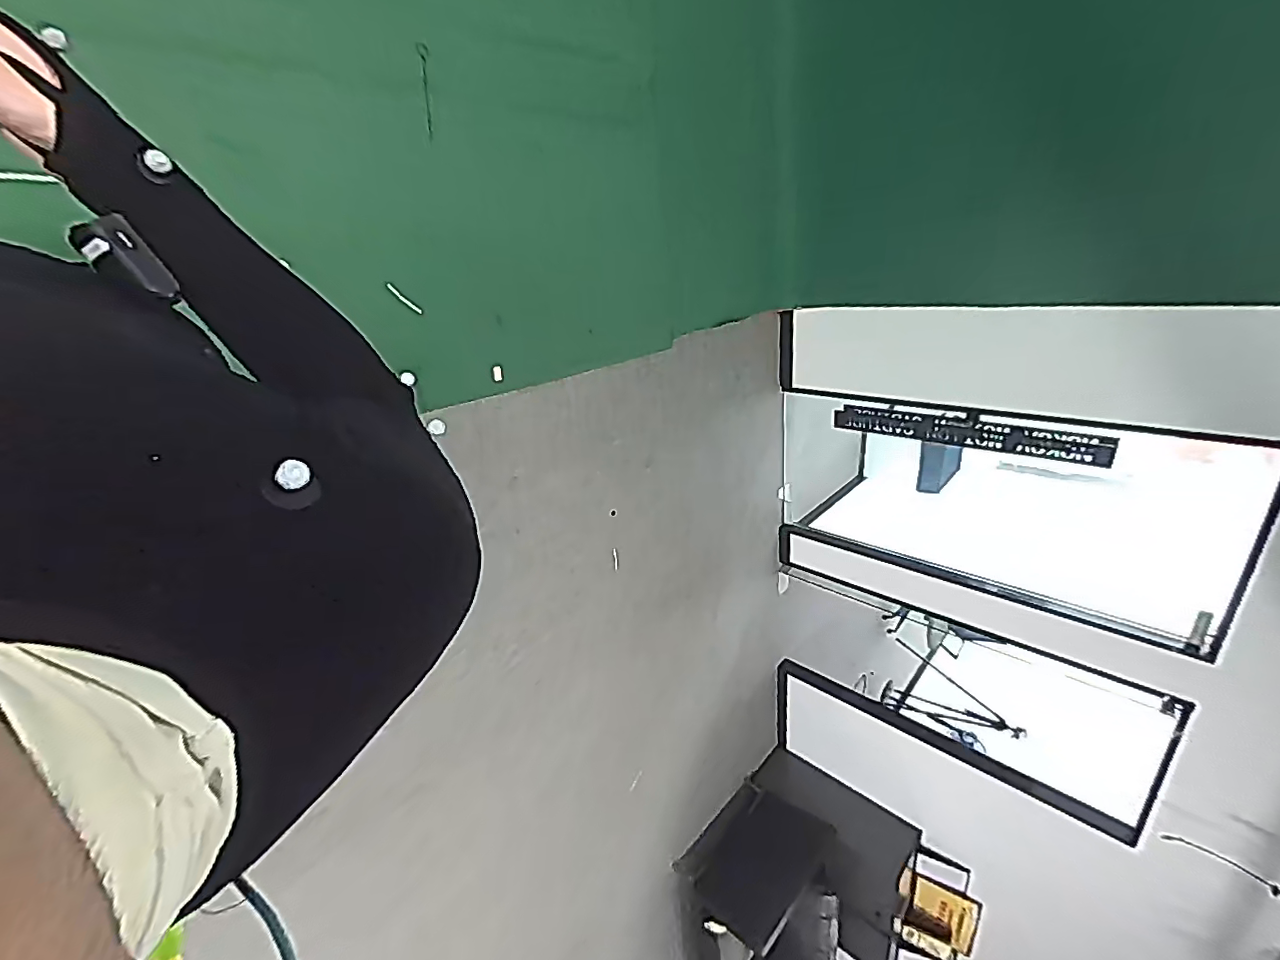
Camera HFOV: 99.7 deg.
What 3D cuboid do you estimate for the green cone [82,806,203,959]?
[{"bbox_3d":[-1.184,1.024,1.312,0.202,0.368,0.200,-24,119,-39],"label":"green cone"}]
